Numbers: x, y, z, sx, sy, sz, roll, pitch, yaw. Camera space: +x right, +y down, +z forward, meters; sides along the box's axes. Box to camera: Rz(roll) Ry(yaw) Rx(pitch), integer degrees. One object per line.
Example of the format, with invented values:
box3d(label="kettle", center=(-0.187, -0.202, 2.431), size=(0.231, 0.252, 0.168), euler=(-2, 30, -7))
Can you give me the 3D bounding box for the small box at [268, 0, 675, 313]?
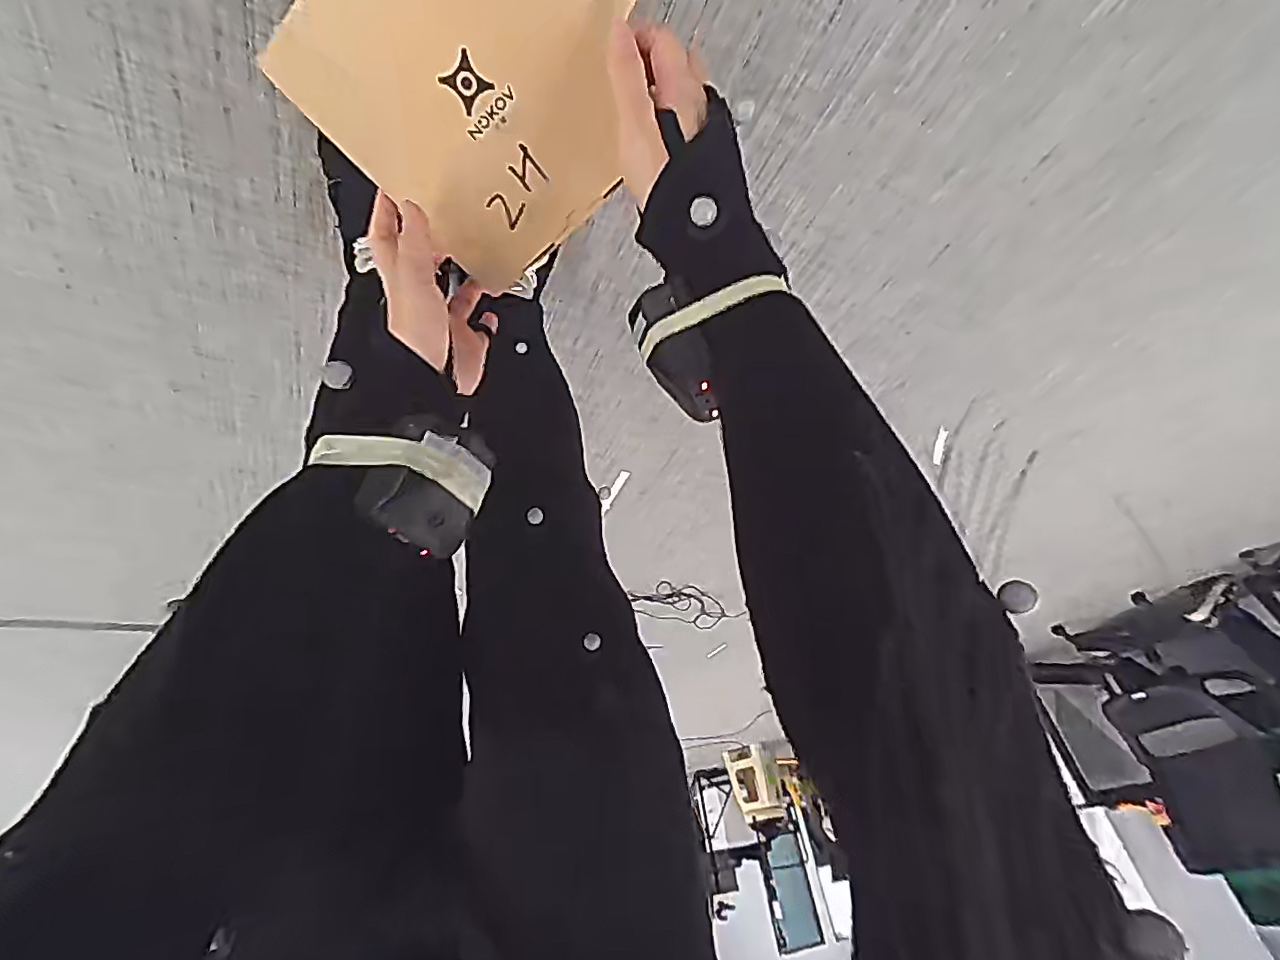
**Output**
box3d(label="small box", center=(-0.099, -0.259, 0.382), size=(0.168, 0.176, 0.179), euler=(-33, 124, 18))
